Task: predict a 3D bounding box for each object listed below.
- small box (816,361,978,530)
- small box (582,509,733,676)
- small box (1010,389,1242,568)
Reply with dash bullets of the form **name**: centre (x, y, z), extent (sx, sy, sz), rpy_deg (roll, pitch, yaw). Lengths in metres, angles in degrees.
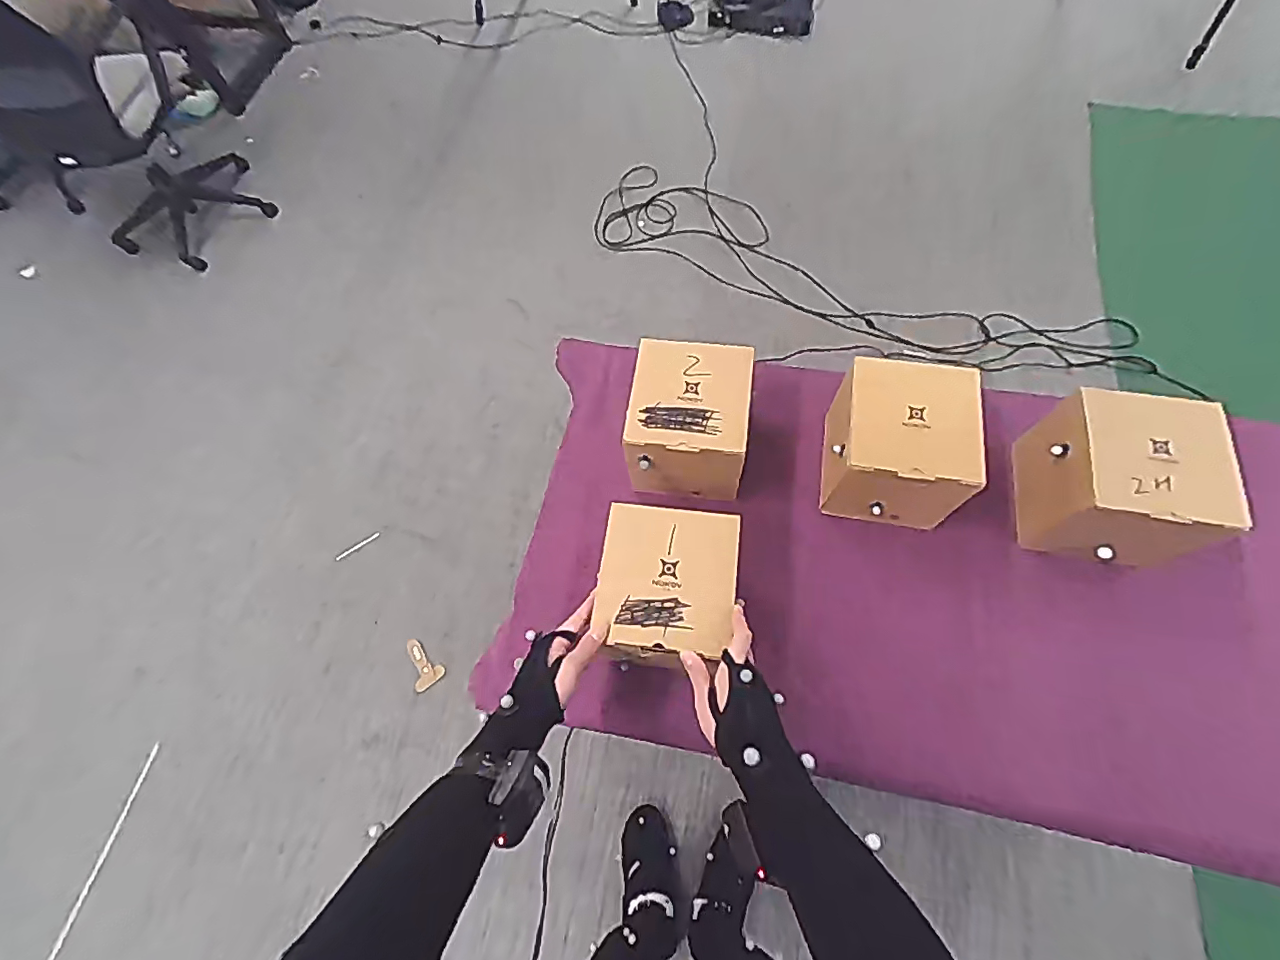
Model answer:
- **small box**: centre (0.359, -0.045, 0.783), extent (0.168, 0.176, 0.179), rpy_deg (8, 68, 9)
- **small box**: centre (0.031, 0.156, 0.719), extent (0.168, 0.176, 0.179), rpy_deg (5, 65, 7)
- **small box**: centre (0.633, 0.003, 0.734), extent (0.168, 0.176, 0.179), rpy_deg (9, 68, 10)
